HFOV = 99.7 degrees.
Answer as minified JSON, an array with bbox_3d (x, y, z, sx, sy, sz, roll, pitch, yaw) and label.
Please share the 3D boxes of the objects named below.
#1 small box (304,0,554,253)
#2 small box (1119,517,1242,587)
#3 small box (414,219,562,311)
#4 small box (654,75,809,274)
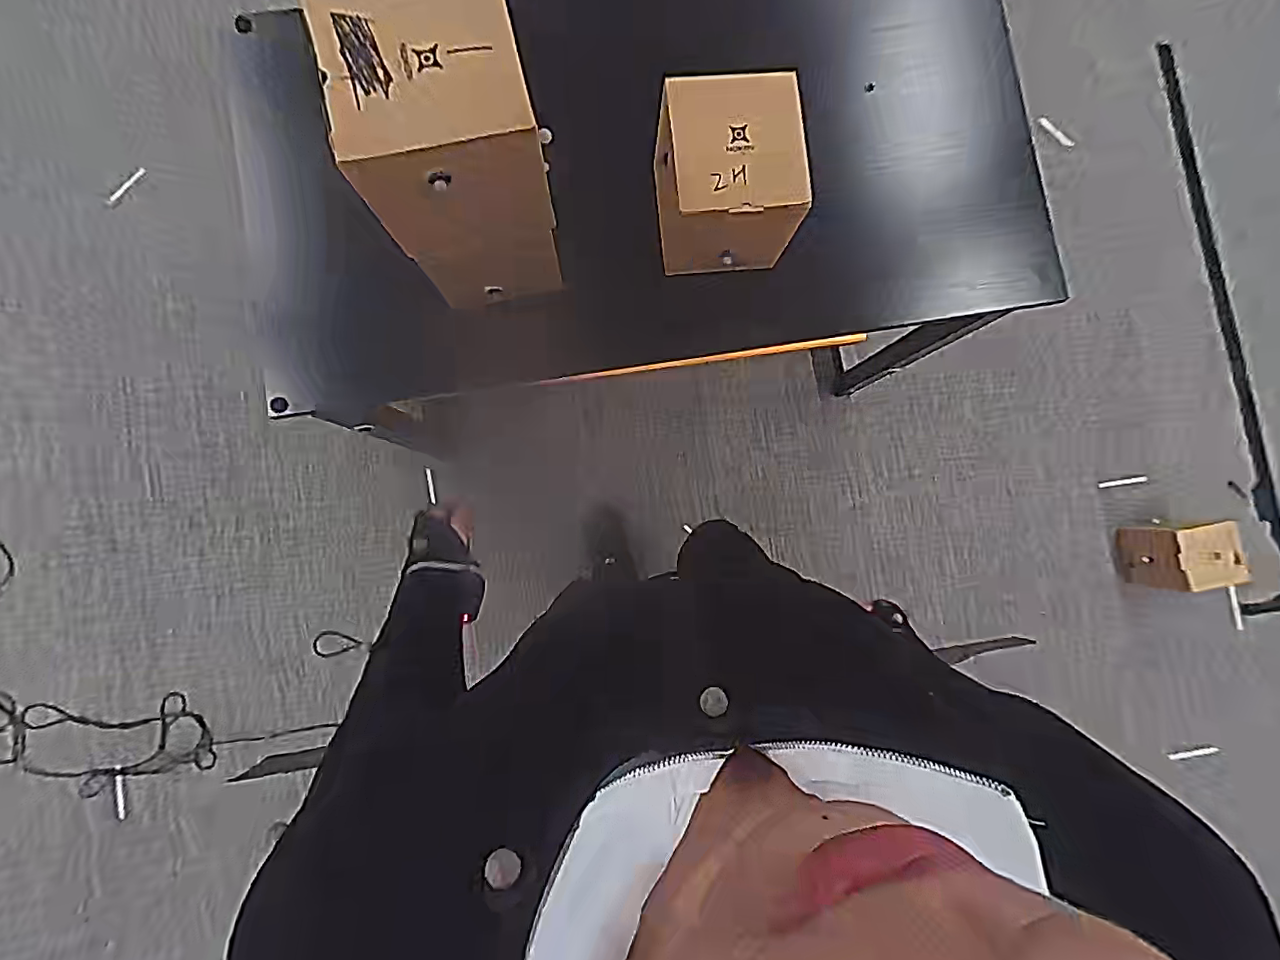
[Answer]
[{"bbox_3d":[-0.197,-0.359,0.554,0.179,0.176,0.168,-14,87,-4],"label":"small box"},{"bbox_3d":[1.497,0.198,1.515,0.179,0.176,0.168,-10,87,-3],"label":"small box"},{"bbox_3d":[-0.206,-0.351,0.718,0.168,0.176,0.179,-13,88,-3],"label":"small box"},{"bbox_3d":[0.113,-0.405,0.739,0.168,0.176,0.179,-5,86,-3],"label":"small box"}]
